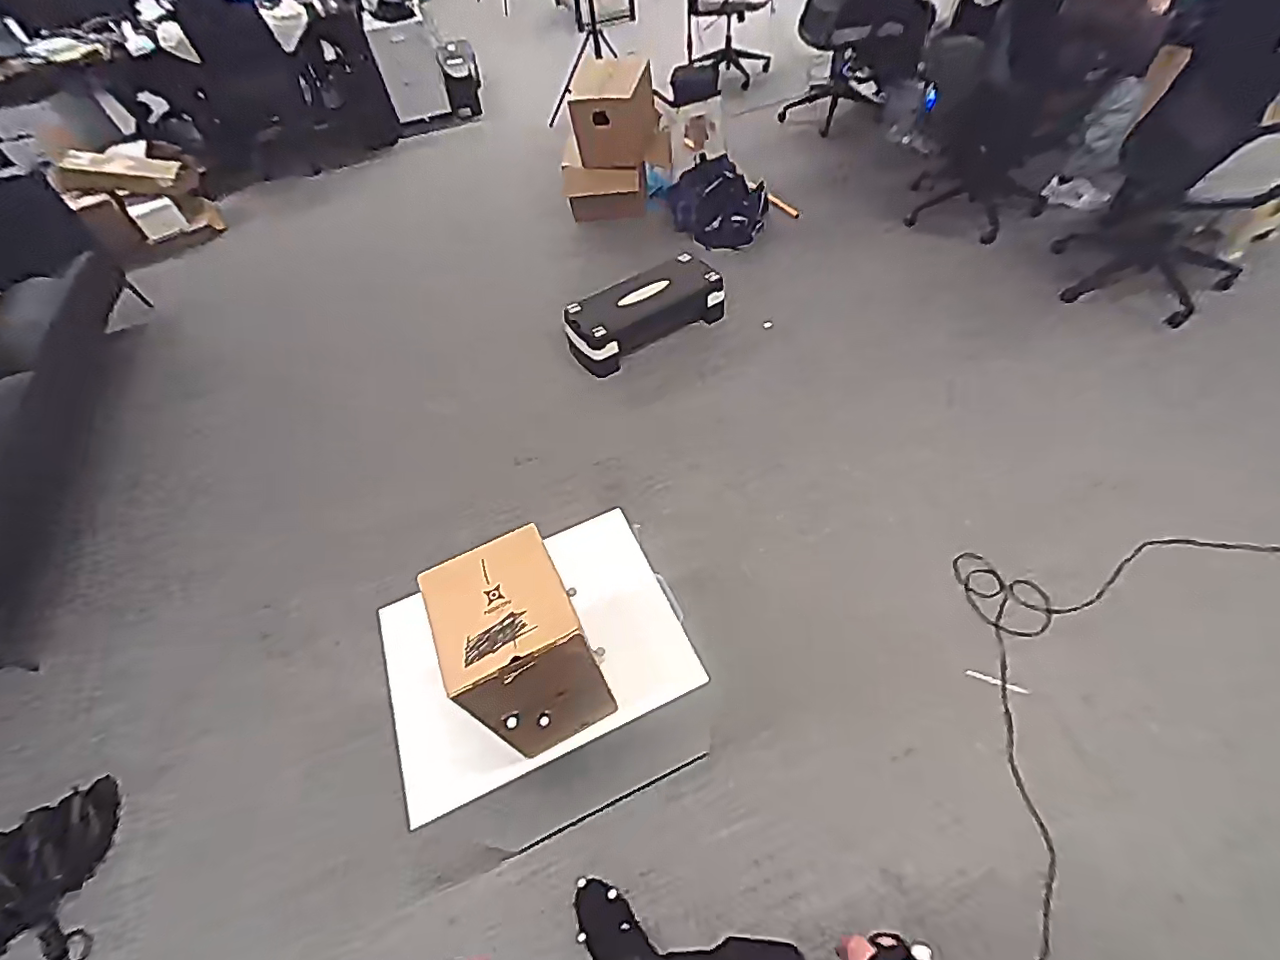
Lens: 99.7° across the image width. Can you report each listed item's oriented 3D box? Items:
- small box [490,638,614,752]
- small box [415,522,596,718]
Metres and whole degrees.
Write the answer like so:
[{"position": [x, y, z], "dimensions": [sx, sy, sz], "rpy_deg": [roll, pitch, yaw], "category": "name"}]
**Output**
[{"position": [-0.156, 0.296, 0.857], "dimensions": [0.168, 0.176, 0.179], "rpy_deg": [-26, 54, -12], "category": "small box"}, {"position": [-0.173, 0.195, 0.726], "dimensions": [0.168, 0.176, 0.179], "rpy_deg": [-25, 52, -12], "category": "small box"}]
